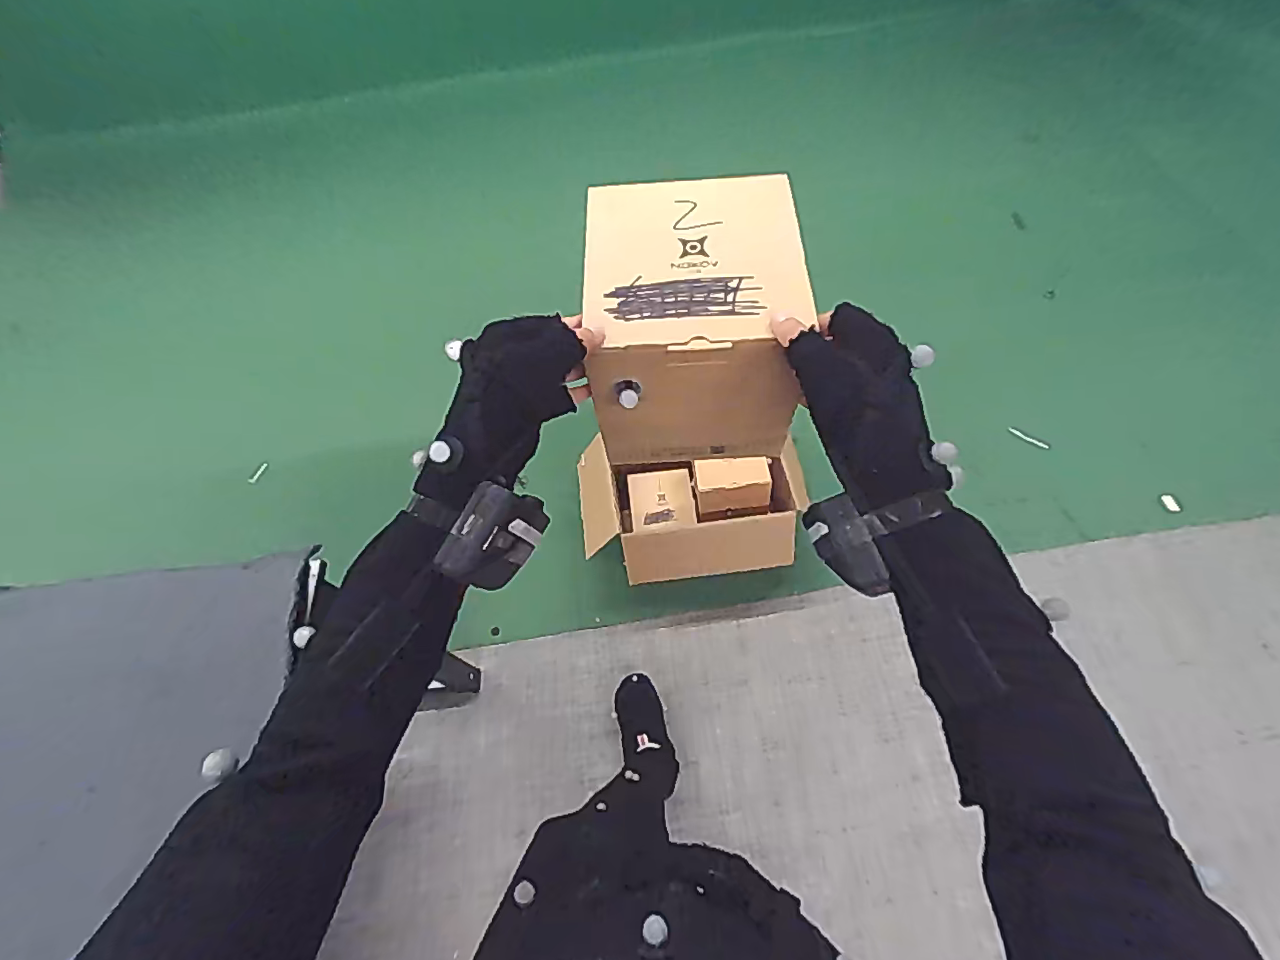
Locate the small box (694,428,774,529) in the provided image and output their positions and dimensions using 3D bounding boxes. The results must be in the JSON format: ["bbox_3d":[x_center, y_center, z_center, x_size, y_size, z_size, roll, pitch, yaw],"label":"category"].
[{"bbox_3d":[0.223,0.000,1.323,0.168,0.176,0.179,-8,57,5],"label":"small box"}]
